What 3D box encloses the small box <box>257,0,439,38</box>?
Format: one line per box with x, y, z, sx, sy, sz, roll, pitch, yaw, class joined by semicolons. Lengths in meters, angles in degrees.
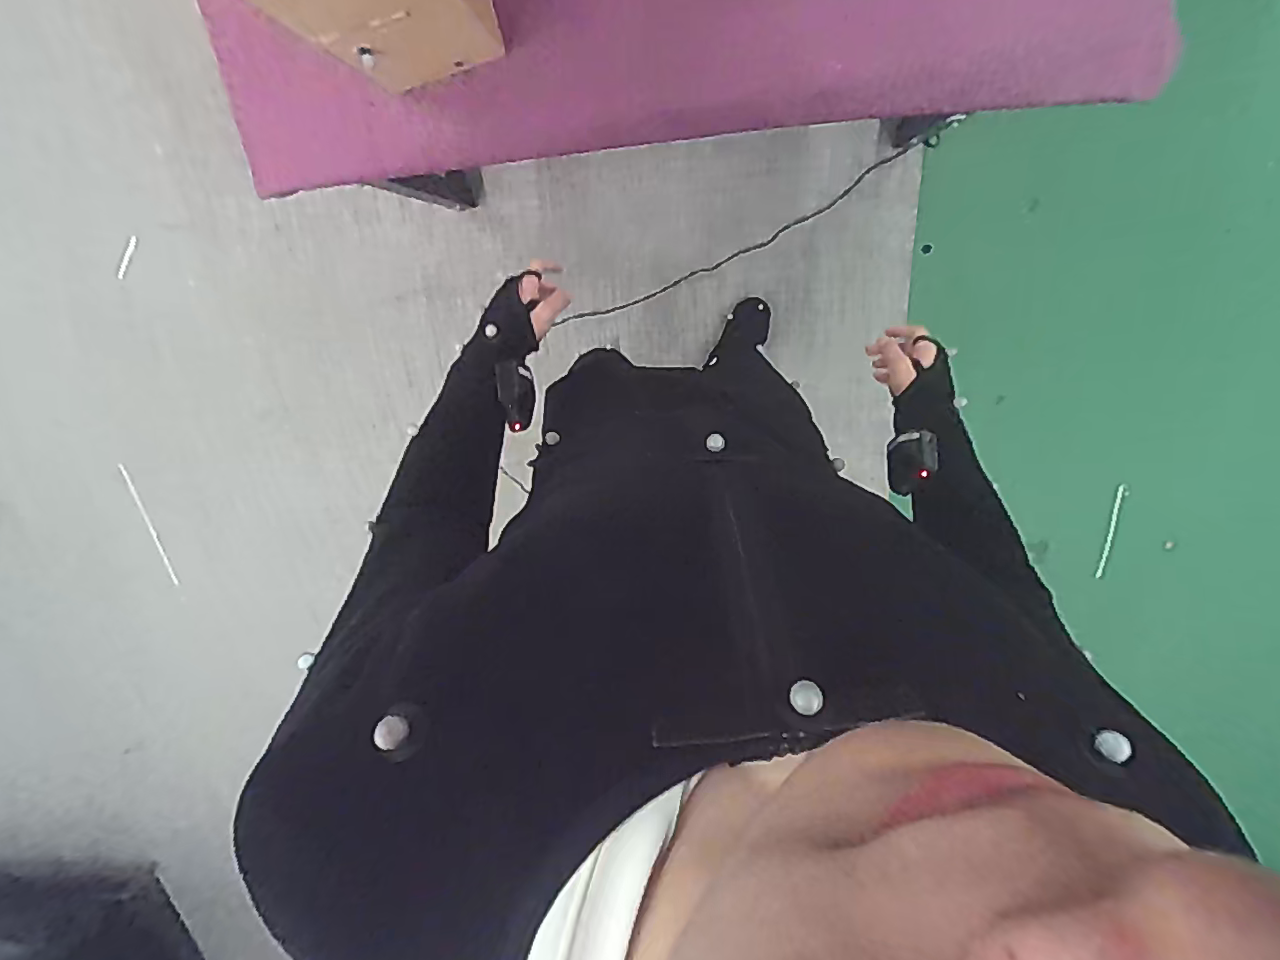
-0.290;-0.536;0.473;0.179;0.176;0.168;-10;109;9;small box
